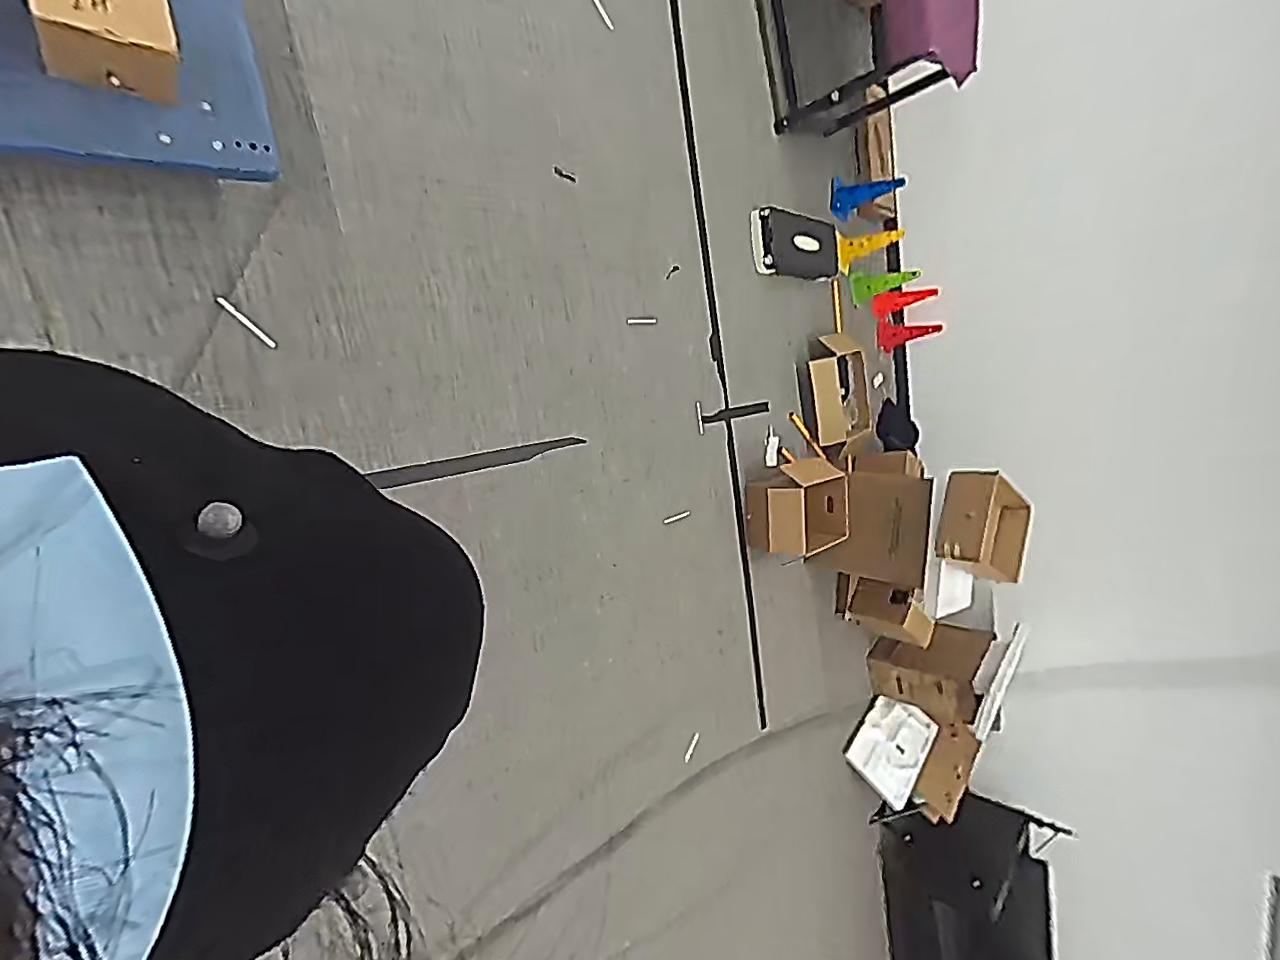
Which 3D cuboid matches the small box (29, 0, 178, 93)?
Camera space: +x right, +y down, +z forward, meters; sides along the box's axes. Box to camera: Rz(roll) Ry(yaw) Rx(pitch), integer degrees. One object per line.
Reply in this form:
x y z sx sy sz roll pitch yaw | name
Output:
-0.878 -0.783 0.877 0.168 0.176 0.179 -13 100 -42 | small box
